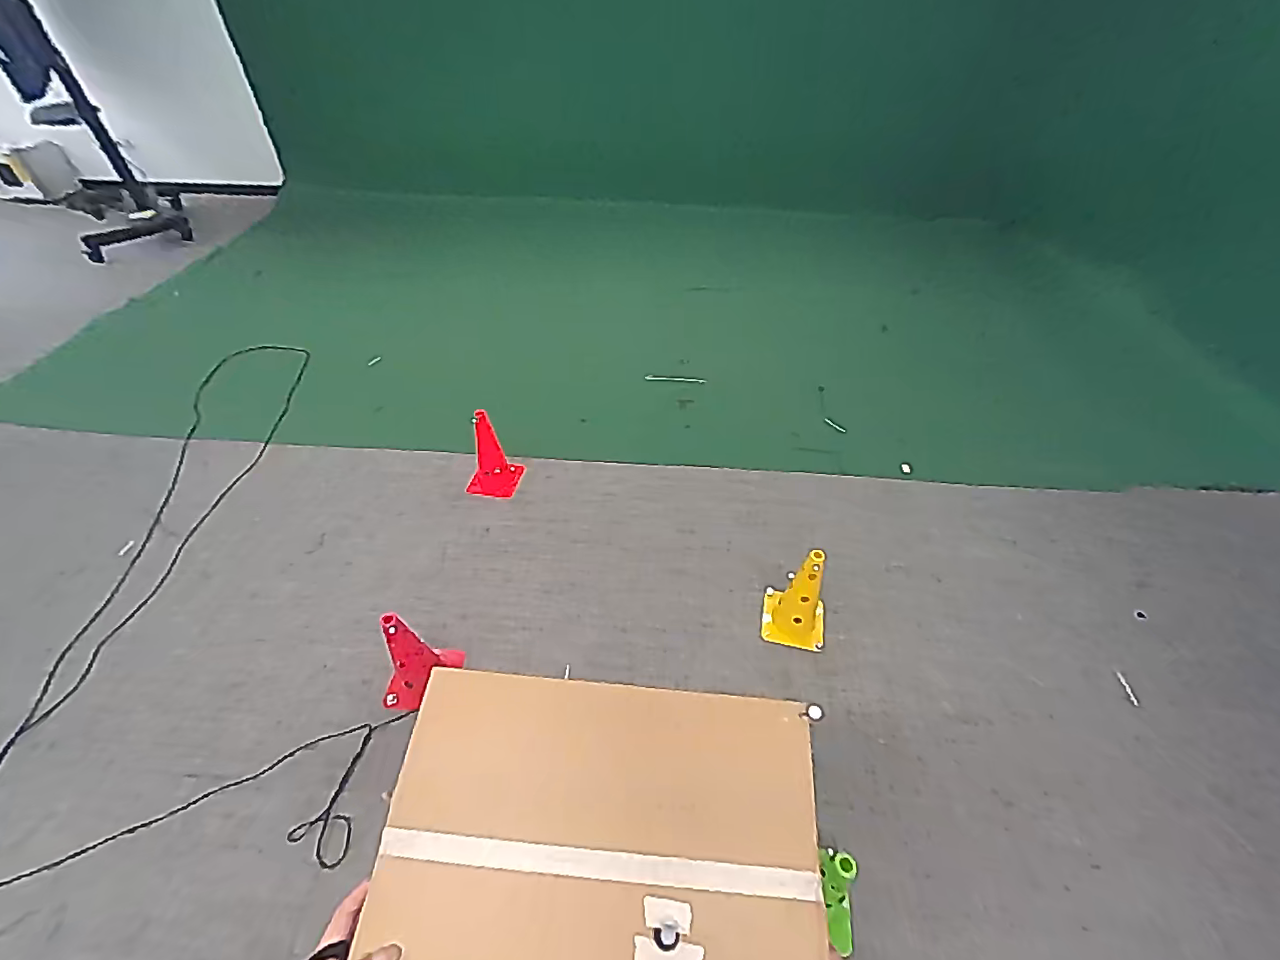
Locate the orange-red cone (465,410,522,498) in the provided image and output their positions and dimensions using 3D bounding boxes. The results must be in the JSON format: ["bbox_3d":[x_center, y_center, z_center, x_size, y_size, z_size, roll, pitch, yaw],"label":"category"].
[{"bbox_3d":[-0.614,-0.123,2.148,0.199,0.360,0.198,7,45,9],"label":"orange-red cone"}]

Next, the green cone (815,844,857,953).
[{"bbox_3d":[0.407,0.872,1.181,0.200,0.368,0.202,8,44,6],"label":"green cone"}]

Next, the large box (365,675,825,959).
[{"bbox_3d":[-0.036,0.435,0.629,0.408,0.320,0.320,4,57,2],"label":"large box"}]
